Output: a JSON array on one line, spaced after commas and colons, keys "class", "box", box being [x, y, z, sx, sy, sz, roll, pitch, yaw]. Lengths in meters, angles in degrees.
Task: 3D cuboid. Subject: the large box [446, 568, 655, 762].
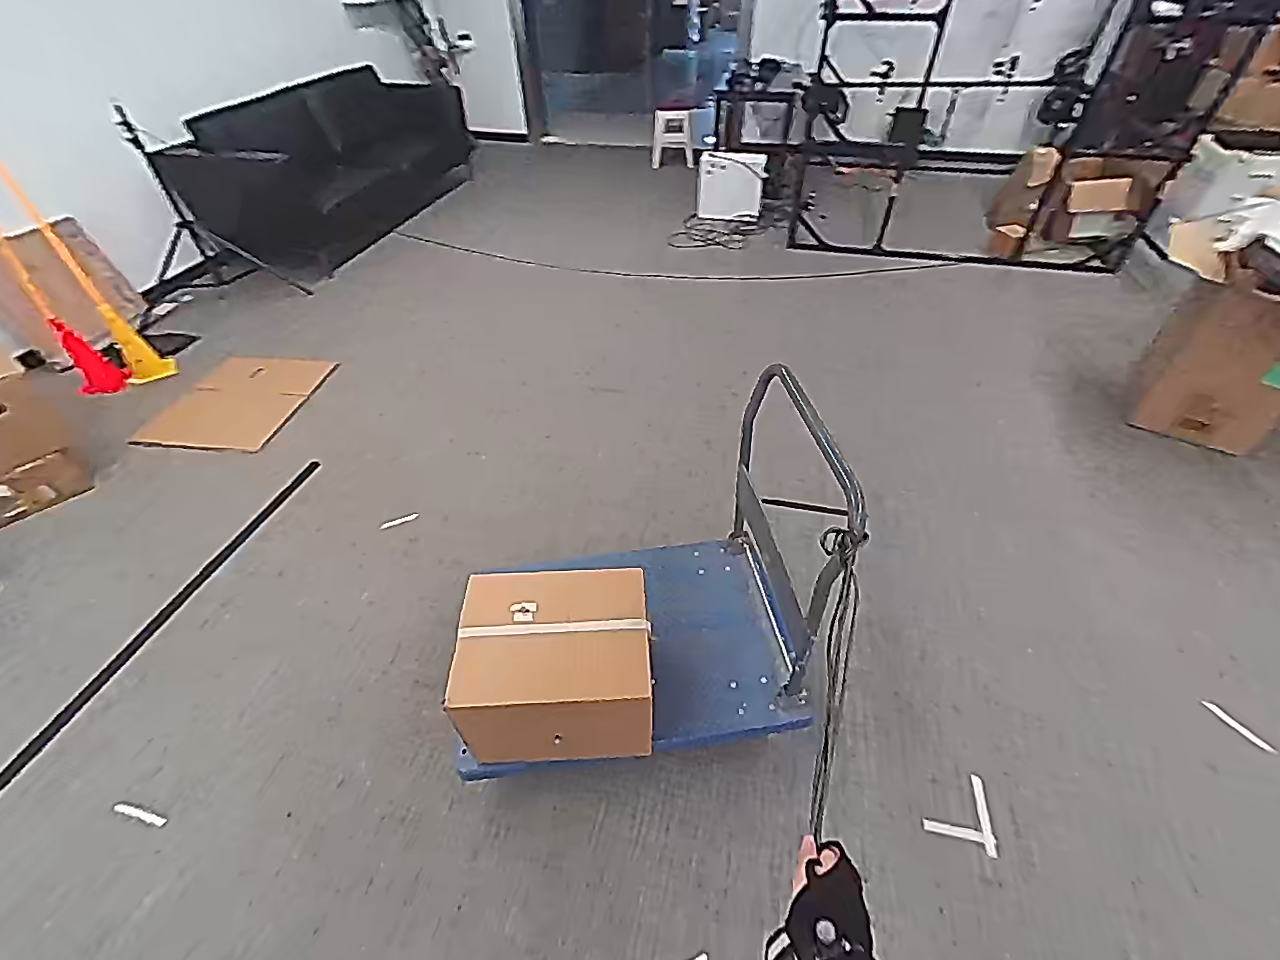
[{"class": "large box", "box": [-0.178, 0.428, 1.244, 0.408, 0.320, 0.320, -3, 44, -1]}]
